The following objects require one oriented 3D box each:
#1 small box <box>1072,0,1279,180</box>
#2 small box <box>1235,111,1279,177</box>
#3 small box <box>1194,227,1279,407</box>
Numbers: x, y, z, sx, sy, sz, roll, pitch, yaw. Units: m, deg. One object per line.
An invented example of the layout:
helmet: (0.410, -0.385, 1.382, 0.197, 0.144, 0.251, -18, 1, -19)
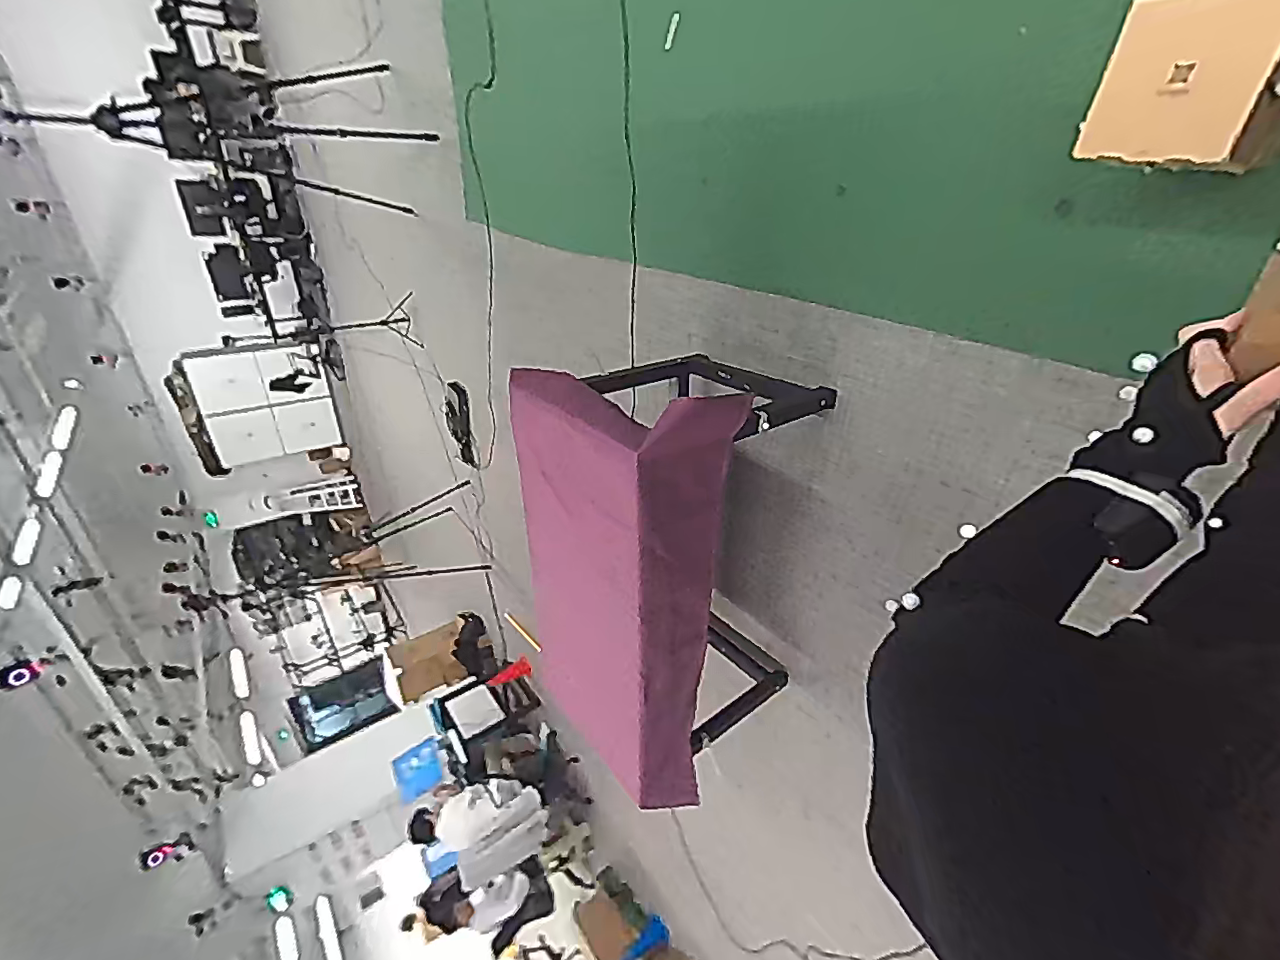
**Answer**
small box: (0.736, -0.511, 0.723, 0.168, 0.176, 0.179, 37, 134, 41)
small box: (0.865, -0.557, 0.812, 0.179, 0.176, 0.168, 37, 133, 42)
small box: (0.536, -0.146, 0.348, 0.168, 0.176, 0.179, 32, 169, 30)
